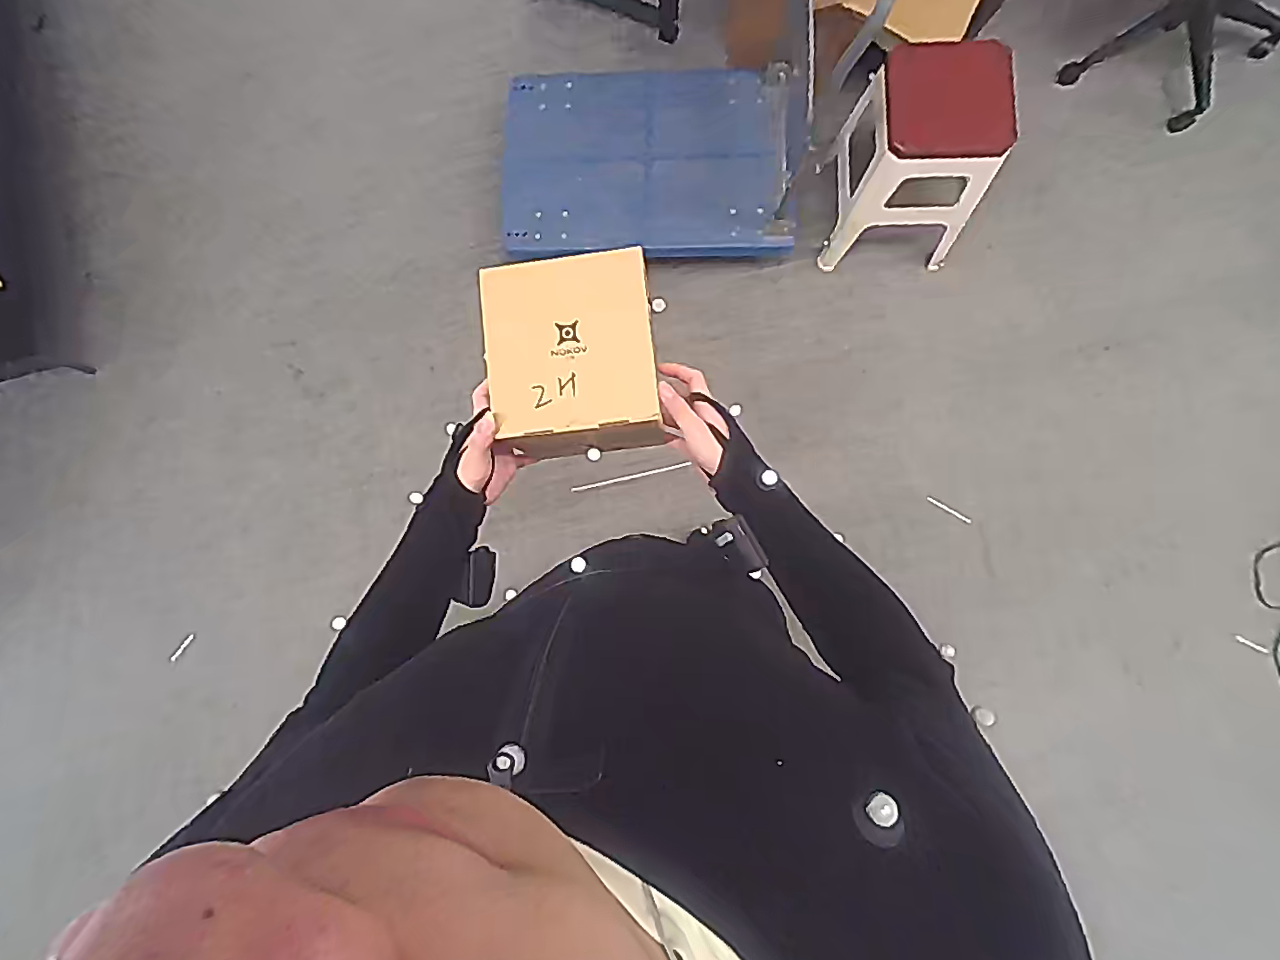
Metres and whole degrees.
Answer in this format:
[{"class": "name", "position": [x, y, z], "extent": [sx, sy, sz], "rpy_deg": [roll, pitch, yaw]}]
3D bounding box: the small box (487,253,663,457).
[{"class": "small box", "position": [-0.064, -0.129, 0.618], "extent": [0.168, 0.176, 0.179], "rpy_deg": [-6, 85, 4]}]
